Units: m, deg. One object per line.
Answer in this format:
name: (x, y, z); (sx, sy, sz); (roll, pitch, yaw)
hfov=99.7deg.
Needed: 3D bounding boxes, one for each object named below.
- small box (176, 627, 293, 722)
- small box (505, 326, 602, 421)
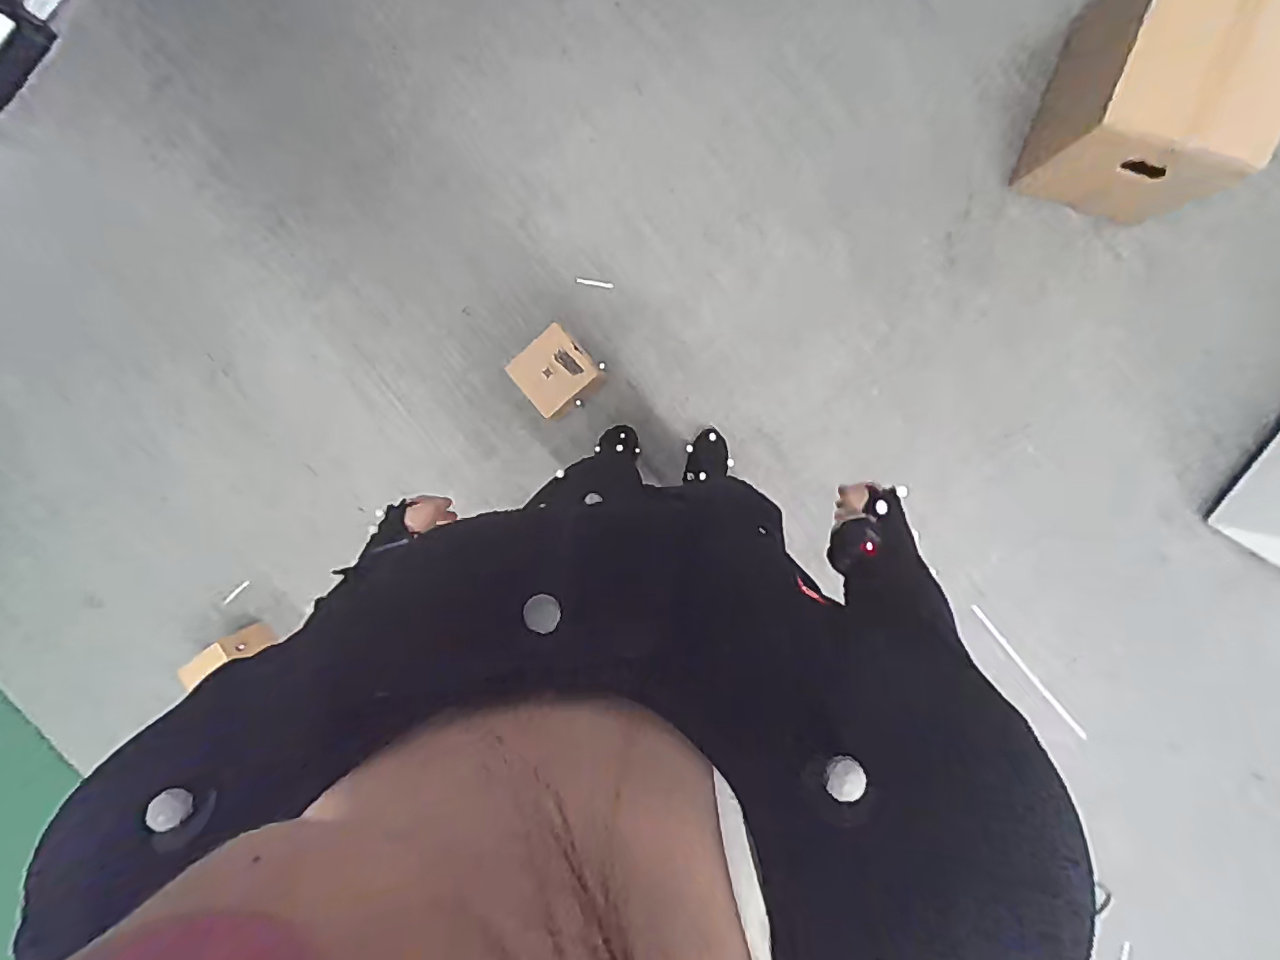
small box: (-1.167, 0.551, 1.569); (0.168, 0.176, 0.179); (-35, 93, 8)
small box: (-0.213, -0.271, 1.403); (0.179, 0.176, 0.168); (-39, 92, 8)
